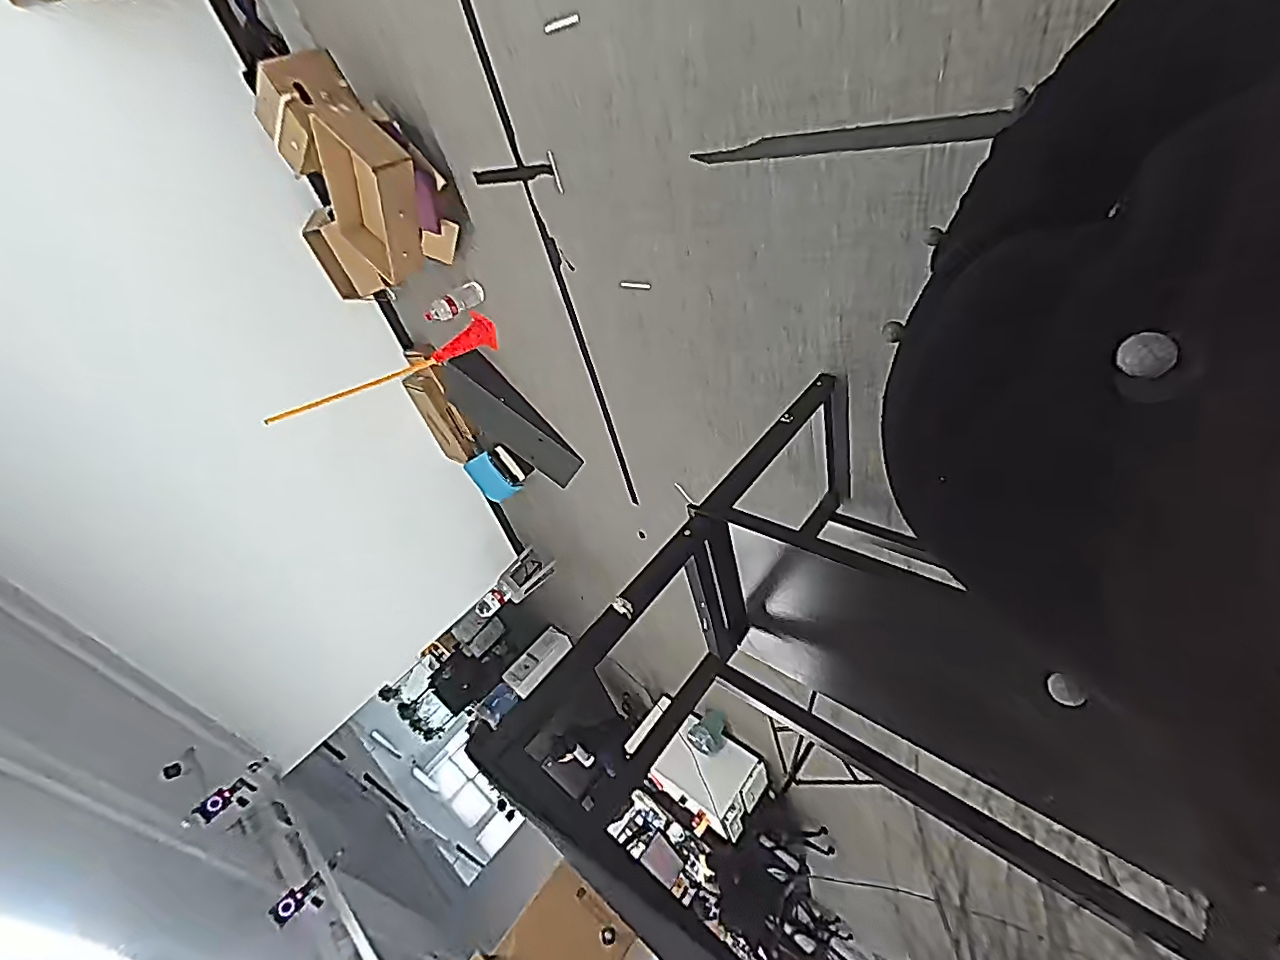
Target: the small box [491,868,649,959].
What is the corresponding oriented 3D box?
[{"bbox_3d":[-0.108,0.762,0.859,0.168,0.176,0.179,23,145,35],"label":"small box"}]
